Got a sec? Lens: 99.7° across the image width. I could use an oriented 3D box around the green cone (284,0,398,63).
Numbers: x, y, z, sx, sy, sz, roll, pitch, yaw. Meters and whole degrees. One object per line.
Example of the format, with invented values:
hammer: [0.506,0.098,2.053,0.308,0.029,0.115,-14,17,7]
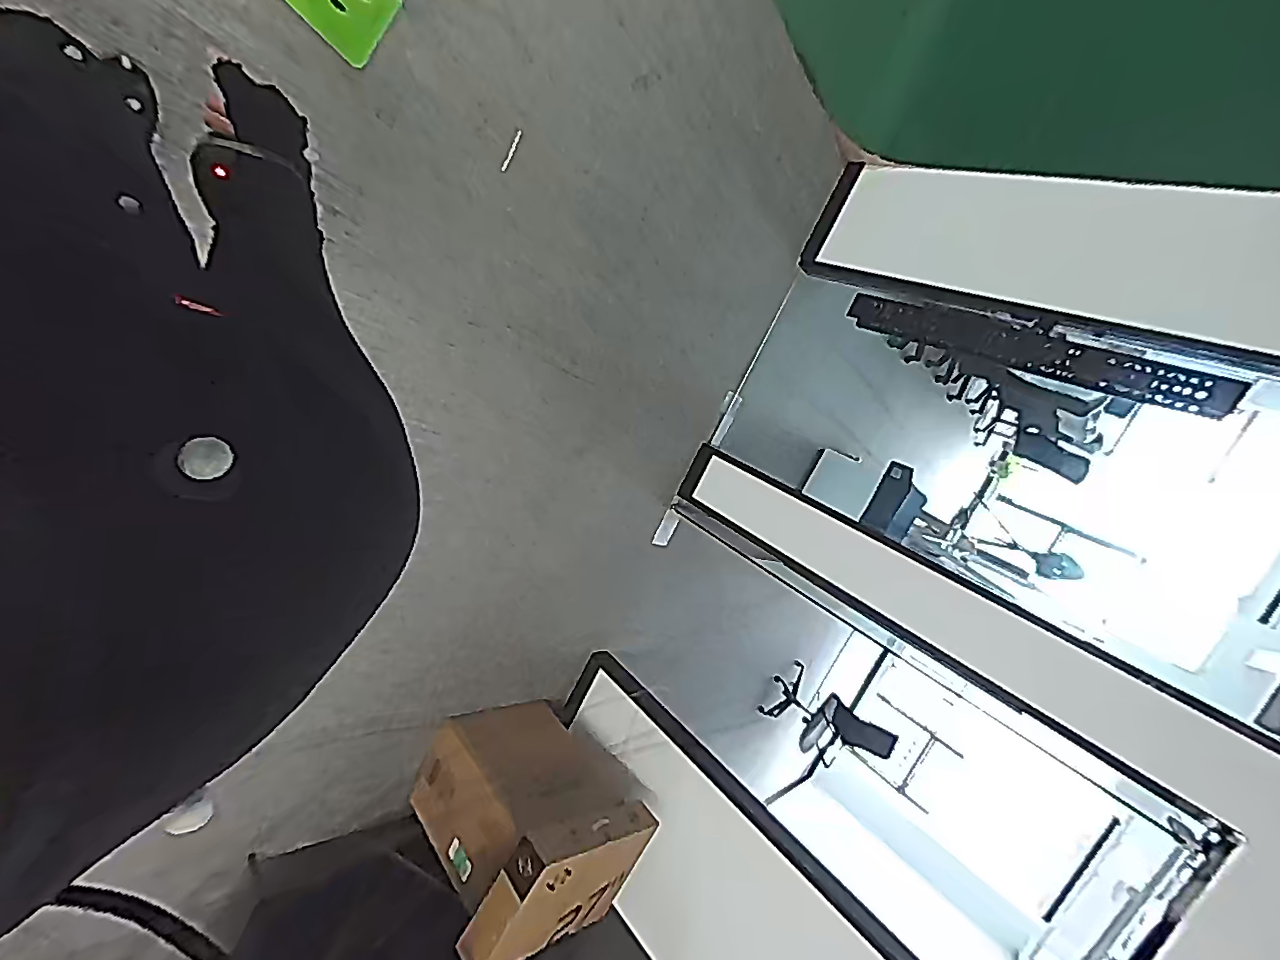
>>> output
green cone: [-0.479,-0.903,0.949,0.200,0.368,0.202,29,93,-52]
